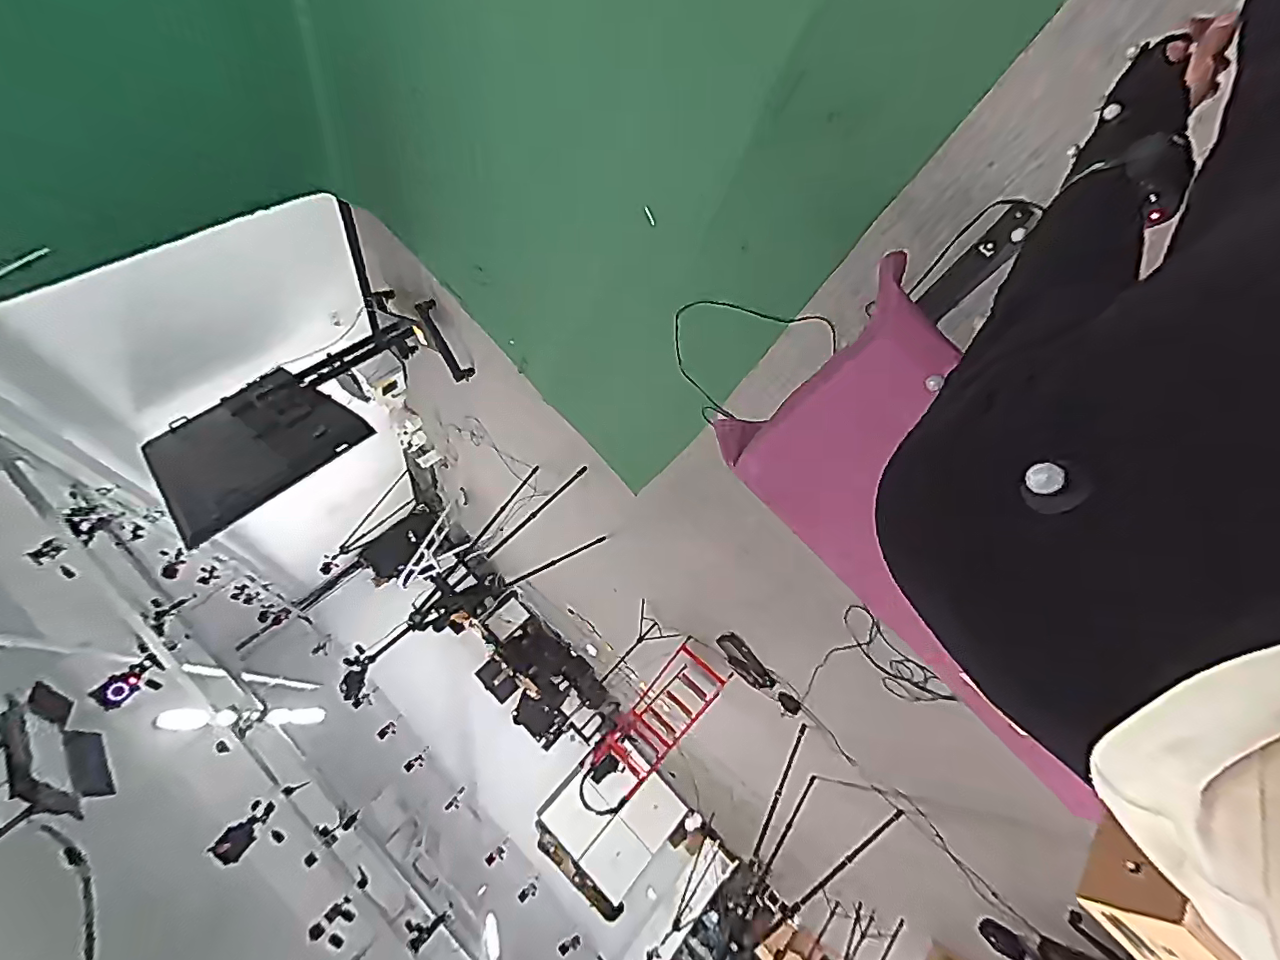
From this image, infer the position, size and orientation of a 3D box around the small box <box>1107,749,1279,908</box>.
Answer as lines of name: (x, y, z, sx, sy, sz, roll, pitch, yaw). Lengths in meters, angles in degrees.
small box: (1.015, 0.612, 0.976, 0.168, 0.176, 0.179, 45, 151, 7)

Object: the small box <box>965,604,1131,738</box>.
small box: (0.766, 0.354, 1.013, 0.168, 0.176, 0.179, 45, 152, 6)
